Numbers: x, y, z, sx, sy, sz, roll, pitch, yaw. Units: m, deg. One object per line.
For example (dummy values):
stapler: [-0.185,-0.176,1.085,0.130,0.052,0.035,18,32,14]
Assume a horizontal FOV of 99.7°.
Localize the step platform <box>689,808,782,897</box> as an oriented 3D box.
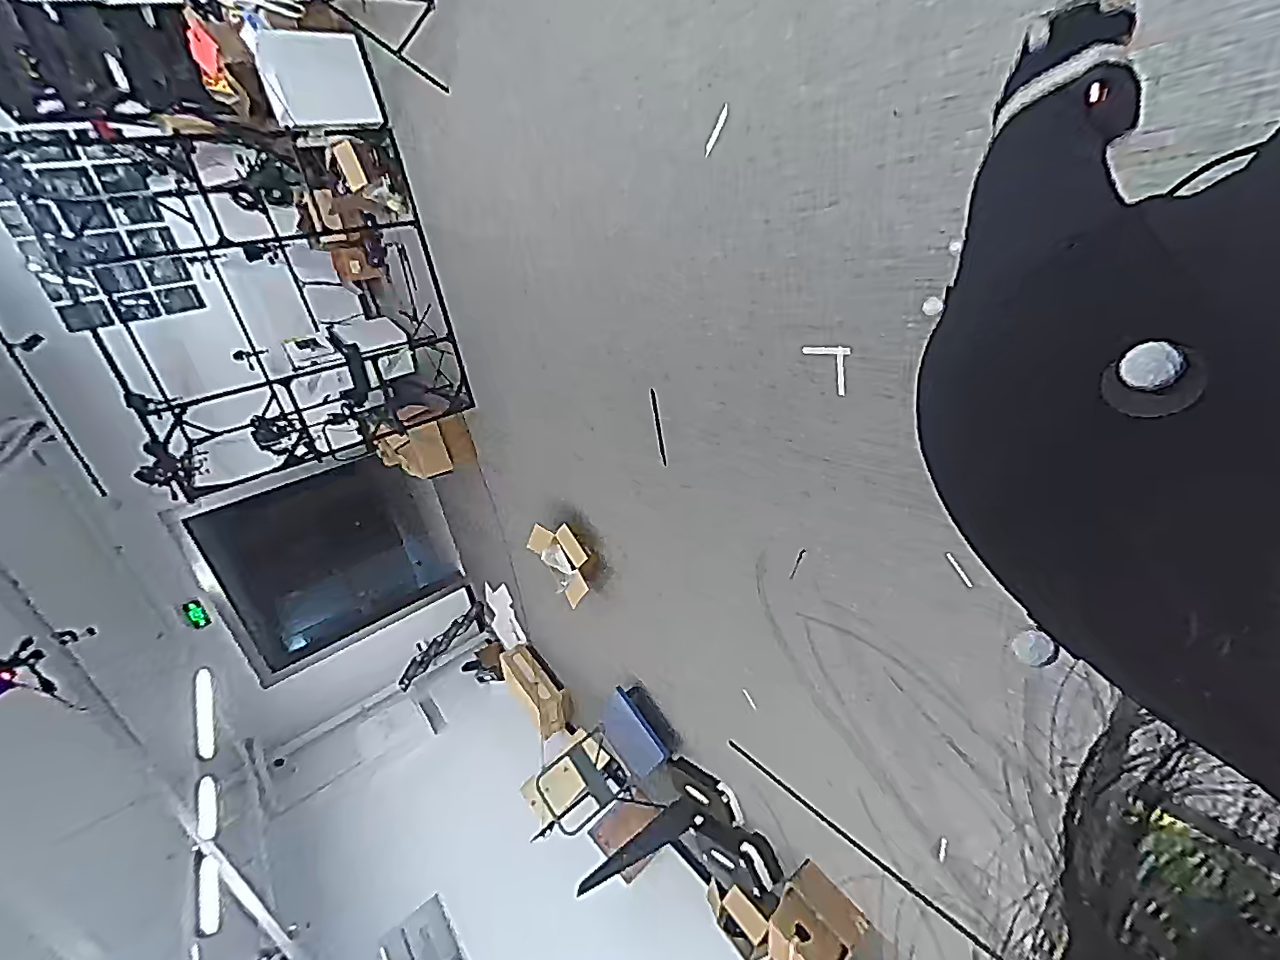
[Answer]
step platform: [0.612,2.465,3.598,0.684,0.204,0.286,-25,91,58]
